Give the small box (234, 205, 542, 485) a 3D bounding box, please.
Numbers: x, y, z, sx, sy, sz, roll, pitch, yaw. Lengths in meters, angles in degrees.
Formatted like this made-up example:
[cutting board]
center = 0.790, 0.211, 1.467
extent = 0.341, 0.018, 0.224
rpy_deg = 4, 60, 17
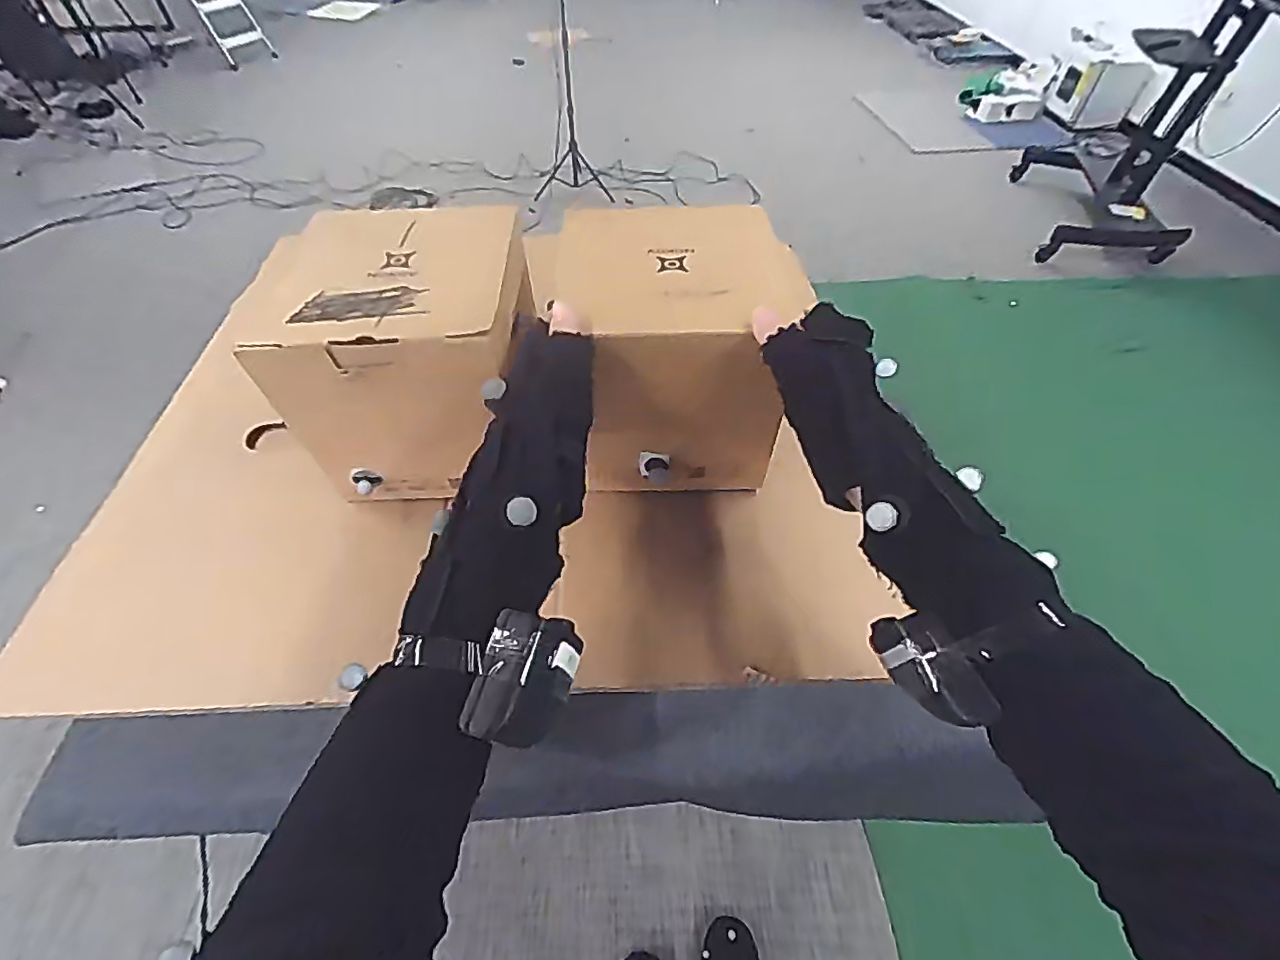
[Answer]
[small box]
center = -0.181, -0.106, 0.460
extent = 0.168, 0.176, 0.179
rpy_deg = -2, 52, -1
